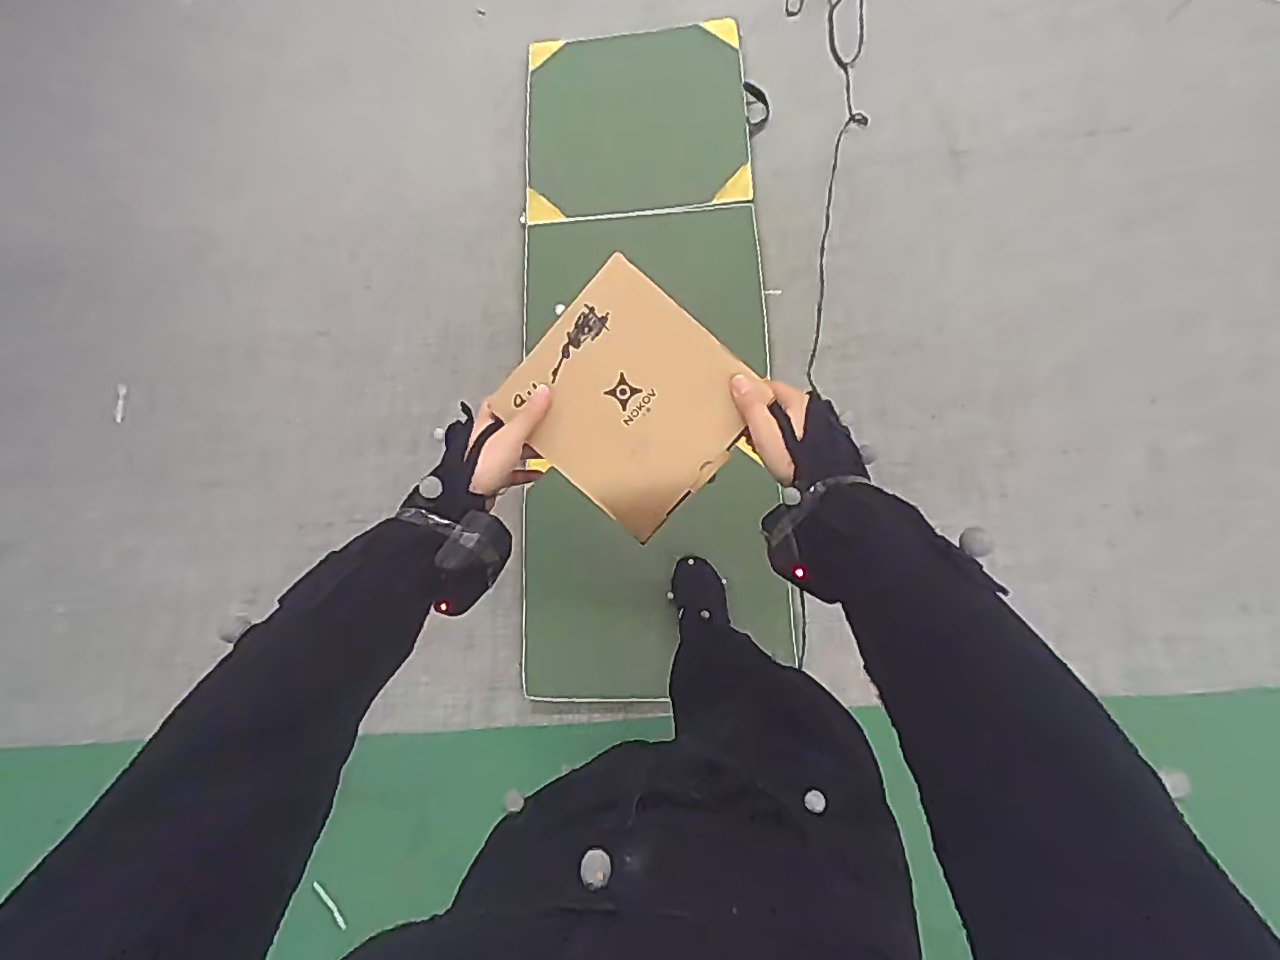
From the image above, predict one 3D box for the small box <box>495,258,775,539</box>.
[{"bbox_3d":[-0.001,-0.071,0.524,0.179,0.176,0.168,42,94,-1],"label":"small box"}]
